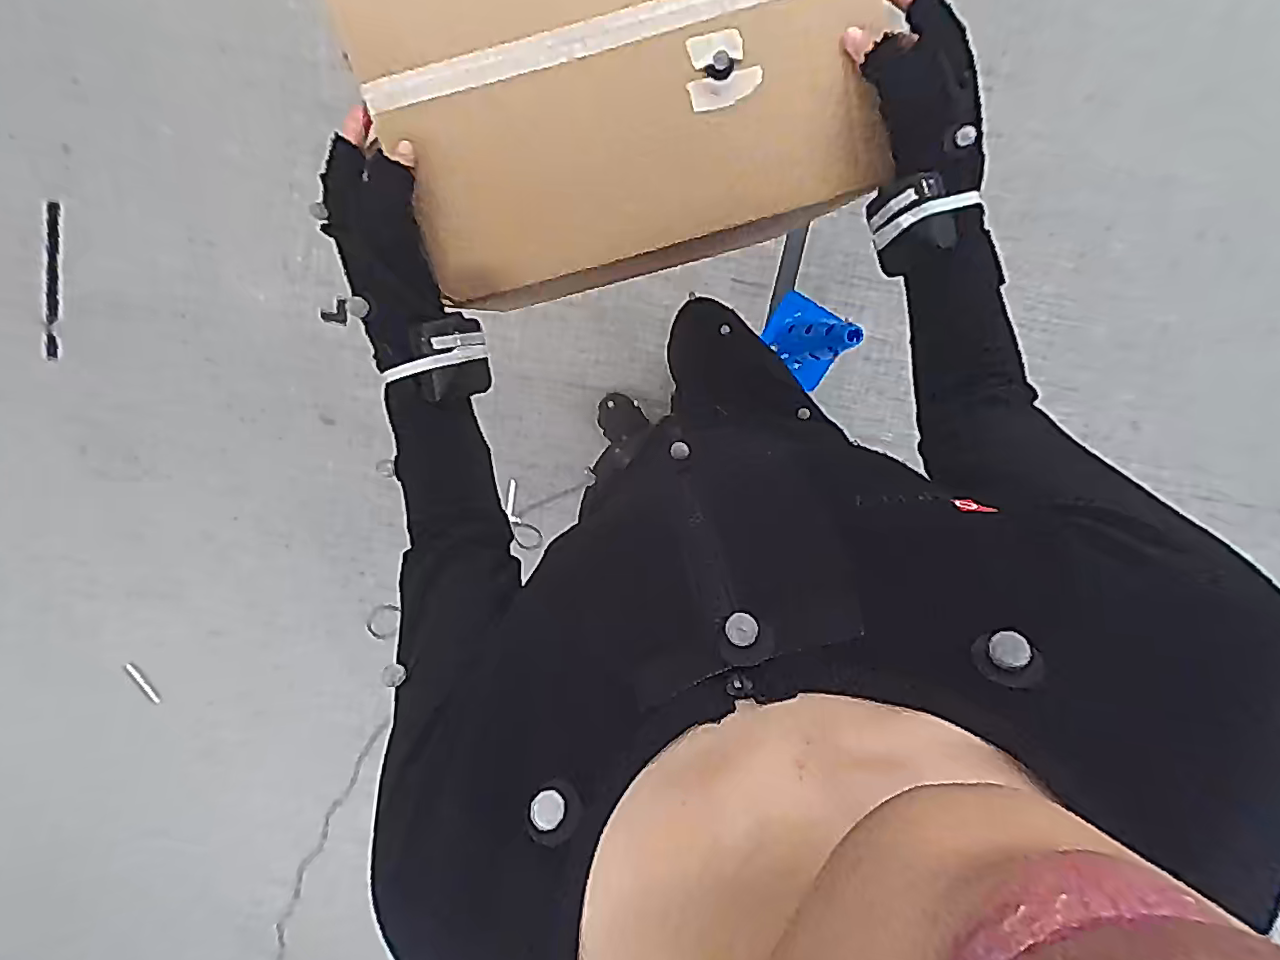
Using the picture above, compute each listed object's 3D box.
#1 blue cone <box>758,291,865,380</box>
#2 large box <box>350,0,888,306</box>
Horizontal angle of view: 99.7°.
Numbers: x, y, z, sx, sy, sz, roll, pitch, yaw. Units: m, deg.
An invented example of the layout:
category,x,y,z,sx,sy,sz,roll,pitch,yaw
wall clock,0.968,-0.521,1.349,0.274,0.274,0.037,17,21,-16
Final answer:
category,x,y,z,sx,sy,sz,roll,pitch,yaw
blue cone,0.424,-0.341,1.251,0.193,0.380,0.192,31,100,-6
large box,-0.025,-0.396,0.570,0.408,0.320,0.320,-15,106,-1
